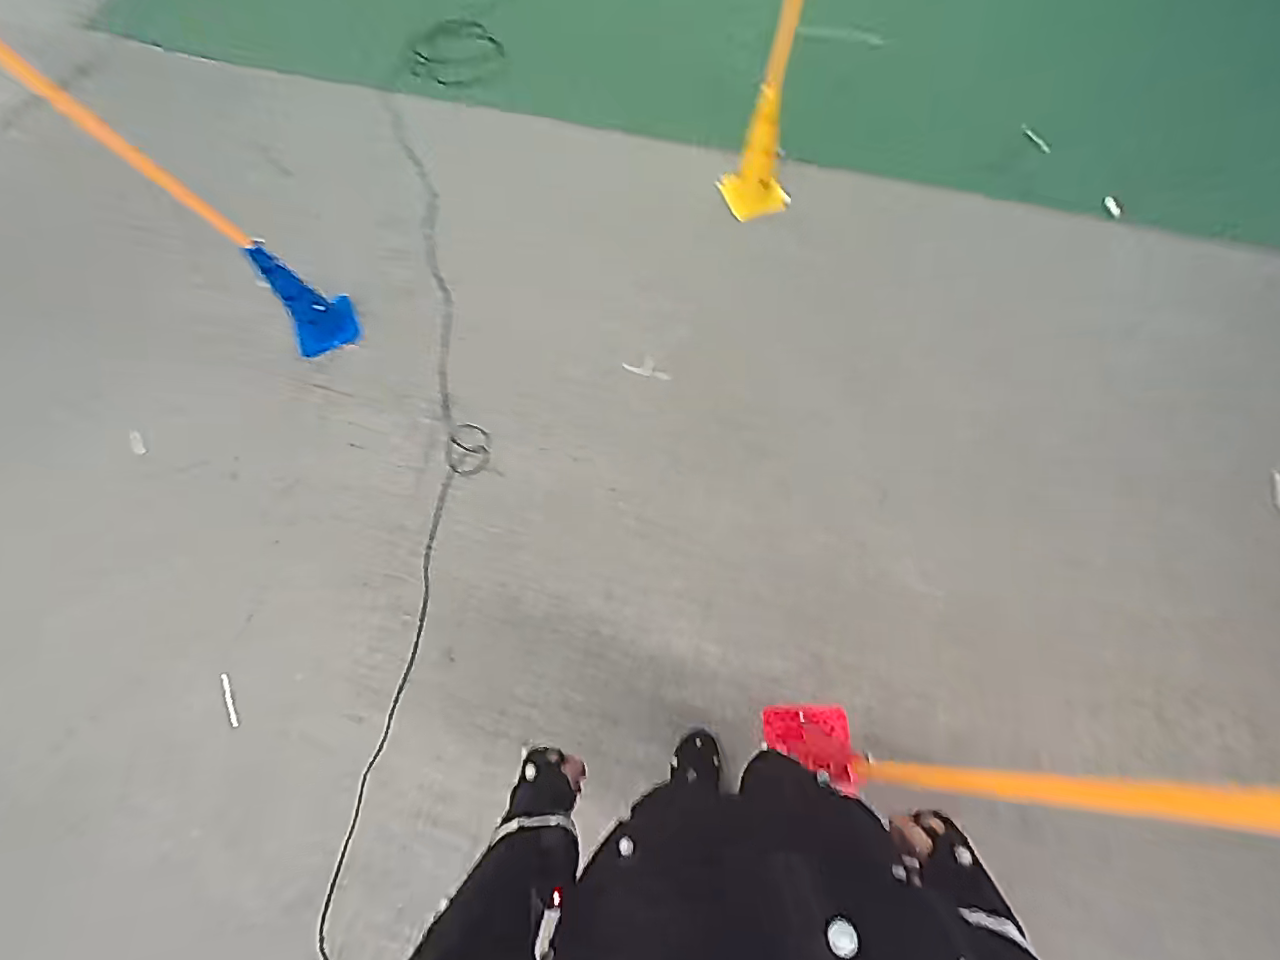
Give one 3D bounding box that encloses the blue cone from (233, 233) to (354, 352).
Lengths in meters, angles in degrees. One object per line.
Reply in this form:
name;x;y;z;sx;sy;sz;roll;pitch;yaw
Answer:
blue cone;-1.037;-0.566;1.591;0.193;0.380;0.192;-26;71;-5
